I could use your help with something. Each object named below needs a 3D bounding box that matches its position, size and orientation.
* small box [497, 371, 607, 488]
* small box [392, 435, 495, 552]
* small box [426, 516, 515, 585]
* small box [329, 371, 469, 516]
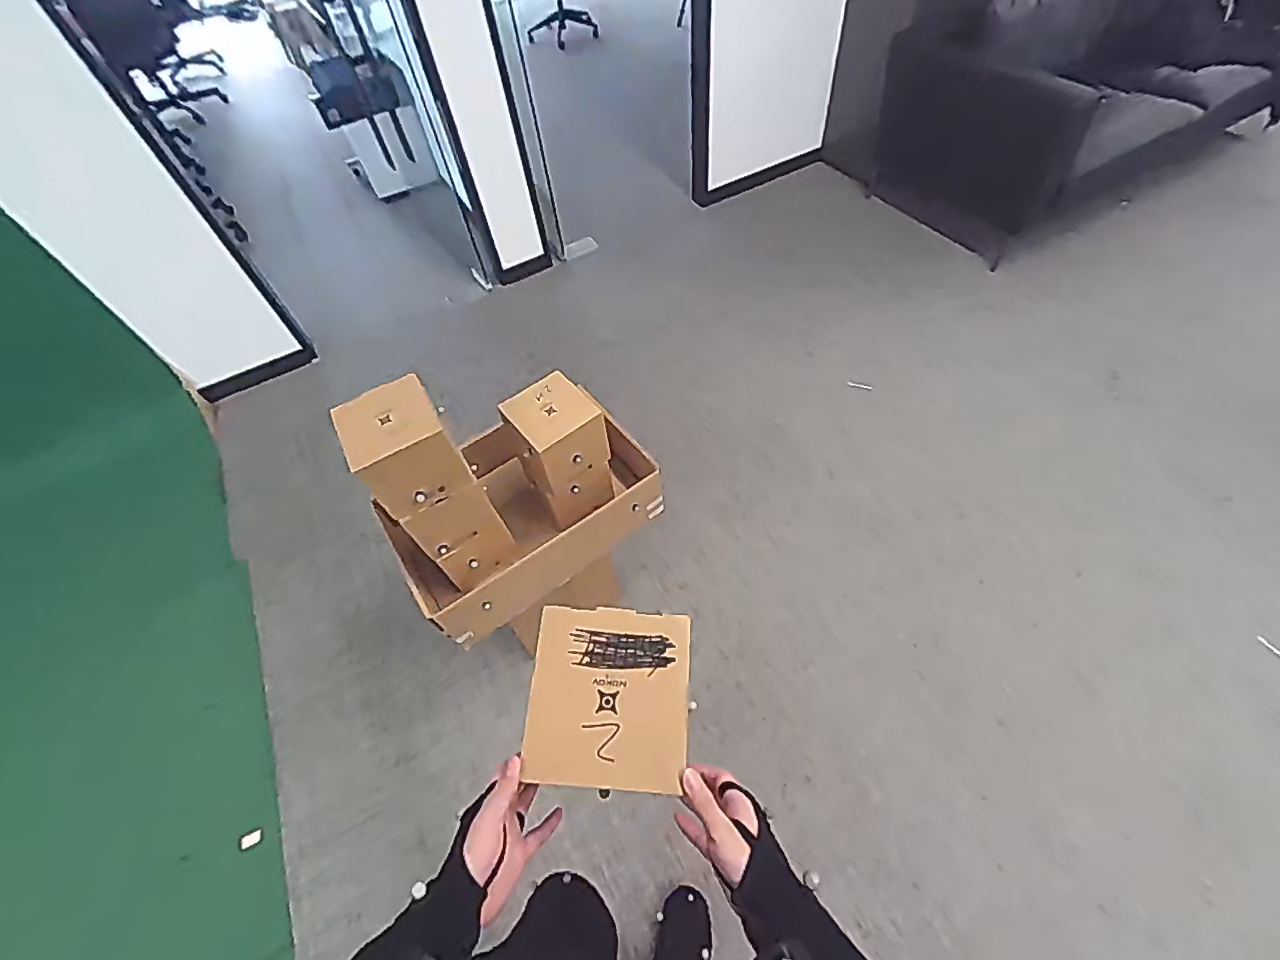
[{"bbox_3d":[-0.190,-0.105,1.219,0.168,0.176,0.179,-34,59,-19],"label":"small box"},{"bbox_3d":[-0.430,0.030,1.147,0.168,0.176,0.179,-29,56,-15],"label":"small box"},{"bbox_3d":[-0.419,0.126,1.280,0.168,0.176,0.179,-32,58,-17],"label":"small box"},{"bbox_3d":[-0.447,-0.065,1.015,0.168,0.176,0.179,-28,57,-13],"label":"small box"}]
